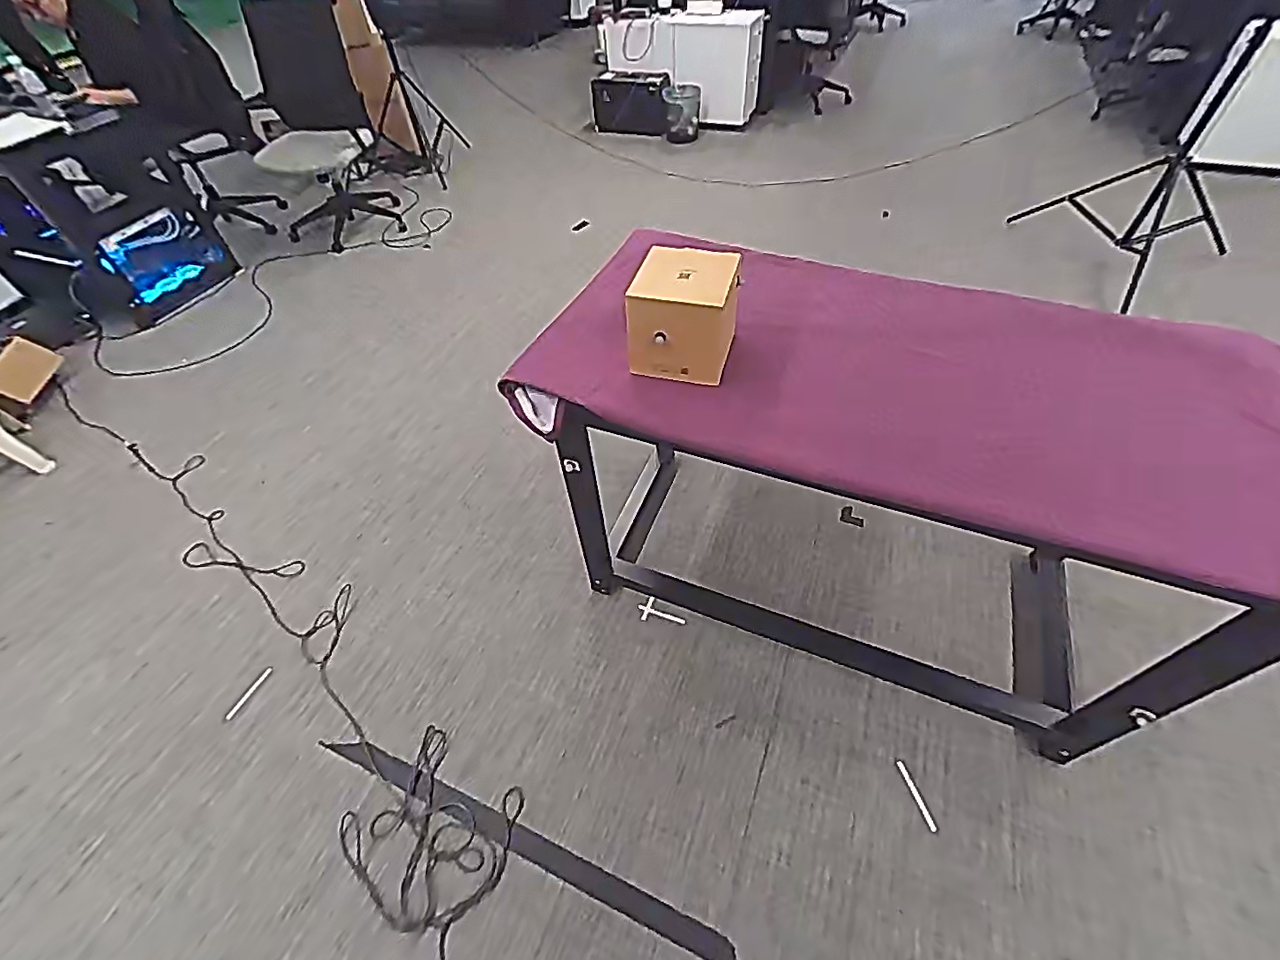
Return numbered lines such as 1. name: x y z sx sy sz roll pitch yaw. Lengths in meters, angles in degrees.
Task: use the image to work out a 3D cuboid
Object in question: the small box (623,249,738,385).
1. small box: 0.078 -0.295 0.985 0.168 0.176 0.179 10 50 12
